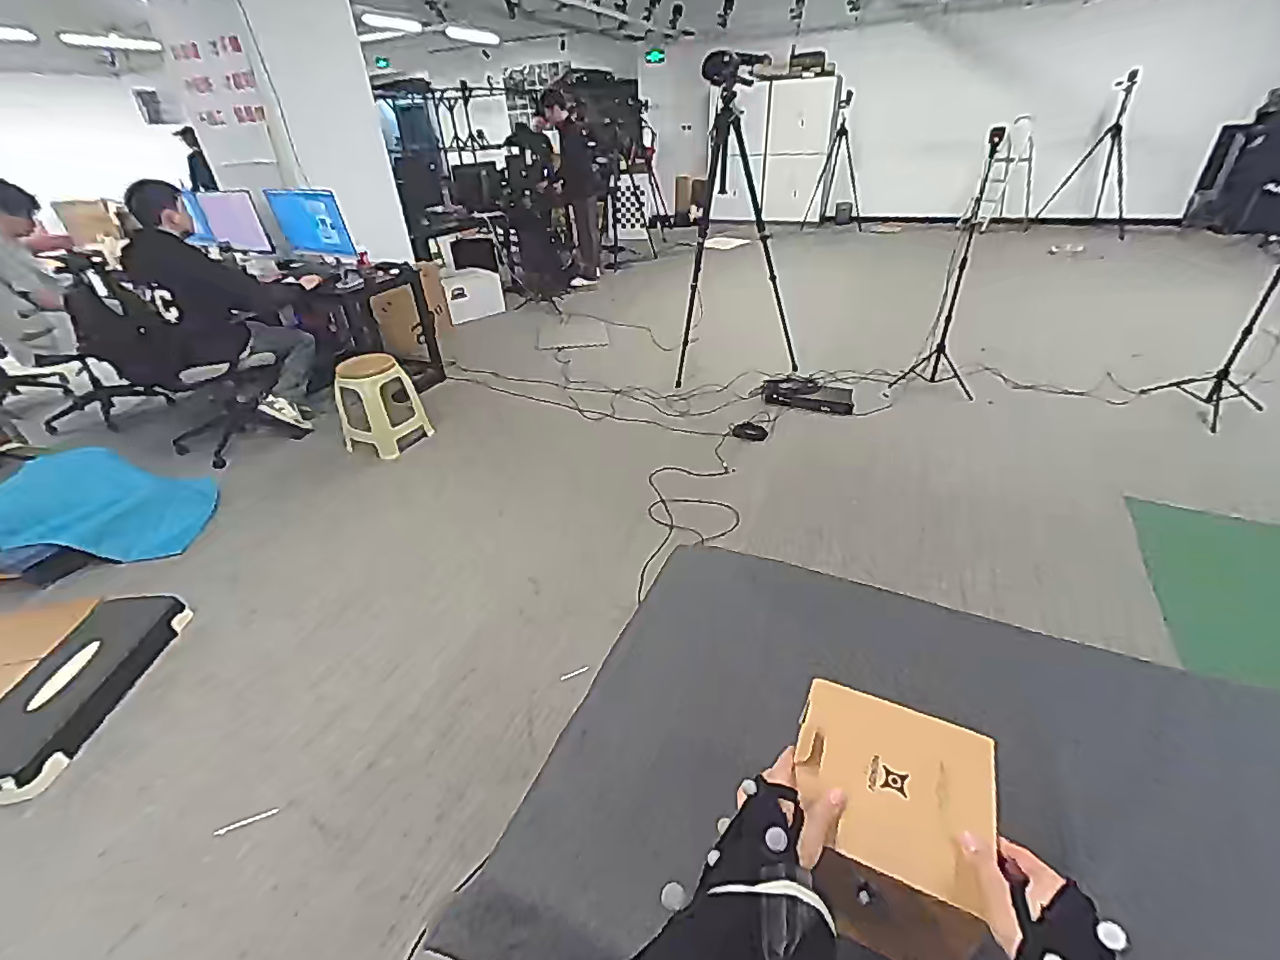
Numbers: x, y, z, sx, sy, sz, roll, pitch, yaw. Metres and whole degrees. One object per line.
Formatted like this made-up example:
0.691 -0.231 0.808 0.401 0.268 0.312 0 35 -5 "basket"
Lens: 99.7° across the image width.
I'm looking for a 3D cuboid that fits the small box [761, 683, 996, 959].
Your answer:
0.229 0.347 0.543 0.179 0.176 0.168 14 39 22 "small box"
